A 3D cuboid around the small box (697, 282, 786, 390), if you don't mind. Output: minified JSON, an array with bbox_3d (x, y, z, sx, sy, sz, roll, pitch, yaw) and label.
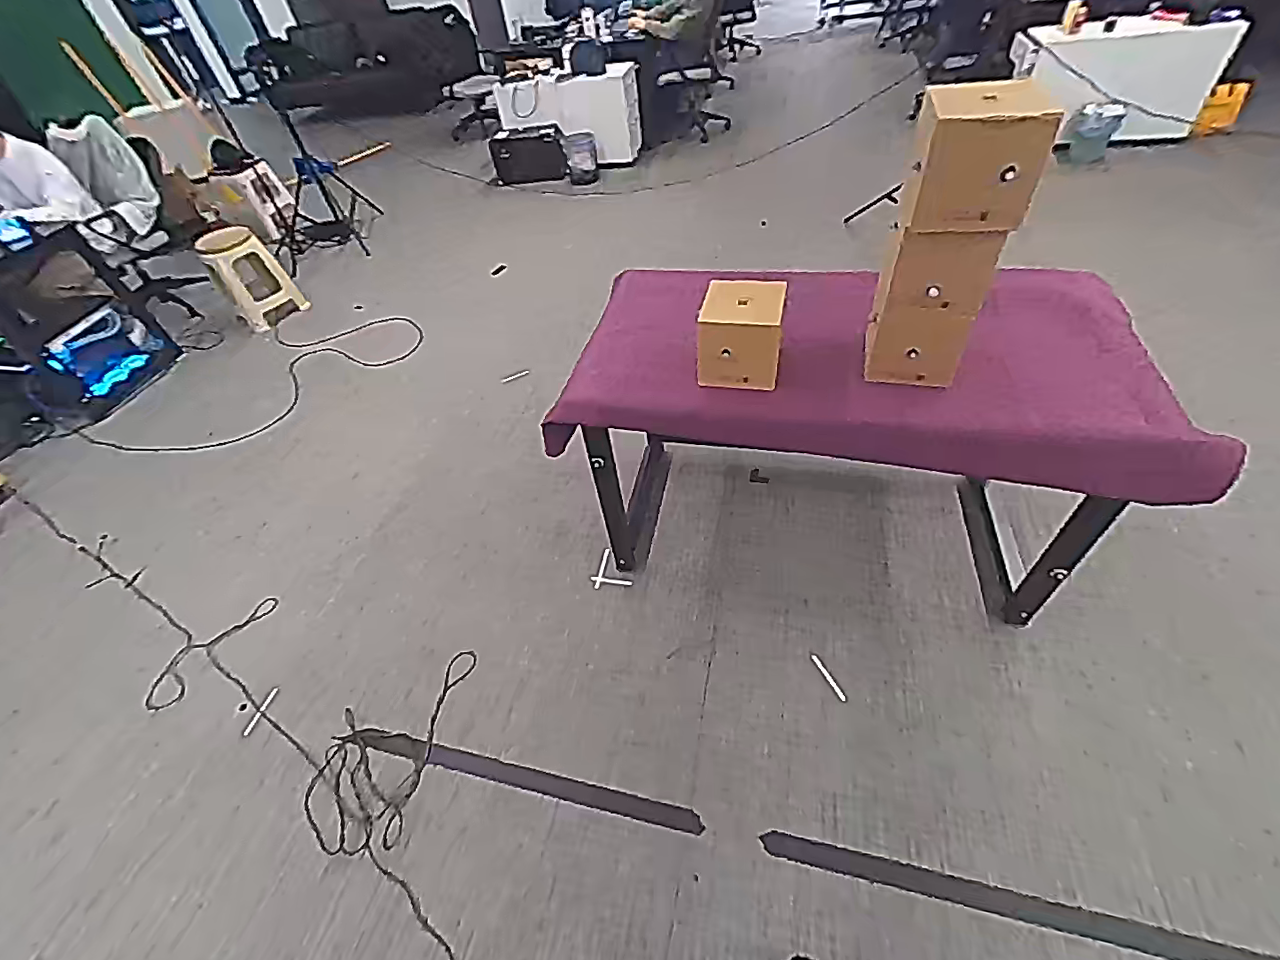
[{"bbox_3d":[0.225,-0.316,1.188,0.168,0.176,0.179,7,48,14],"label":"small box"}]

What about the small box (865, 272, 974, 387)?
[{"bbox_3d":[0.577,-0.315,1.135,0.168,0.176,0.179,9,49,15],"label":"small box"}]

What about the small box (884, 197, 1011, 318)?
[{"bbox_3d":[0.563,-0.428,1.016,0.168,0.176,0.179,8,50,15],"label":"small box"}]

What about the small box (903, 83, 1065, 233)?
[{"bbox_3d":[0.542,-0.520,0.882,0.168,0.176,0.179,6,49,13],"label":"small box"}]
